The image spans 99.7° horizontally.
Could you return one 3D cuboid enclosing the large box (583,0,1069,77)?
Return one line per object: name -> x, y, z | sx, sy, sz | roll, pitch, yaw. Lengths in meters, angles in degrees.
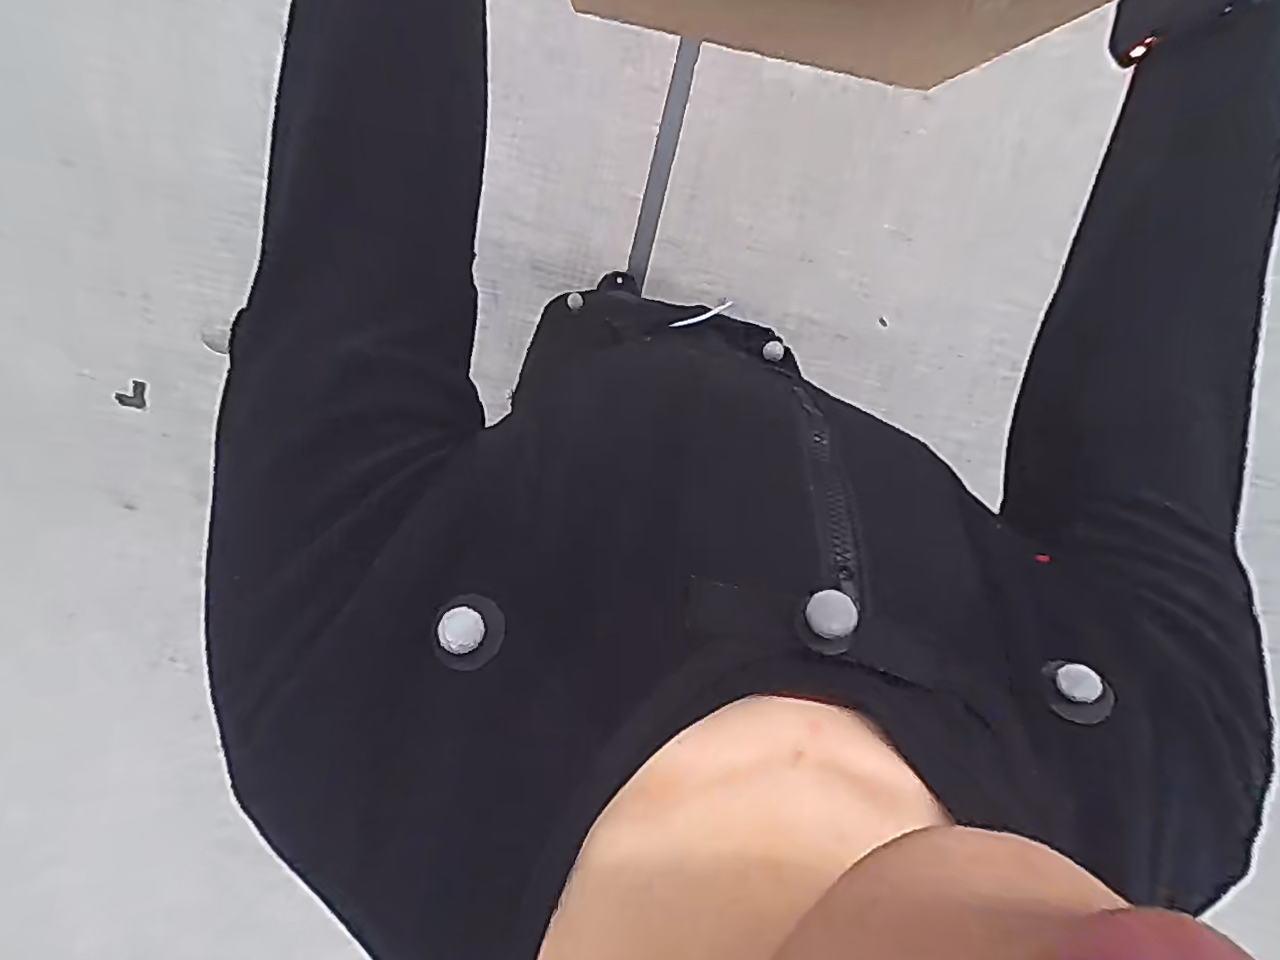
large box -> 0.152, -0.553, 0.399 | 0.408, 0.320, 0.320 | 10, 116, -4
